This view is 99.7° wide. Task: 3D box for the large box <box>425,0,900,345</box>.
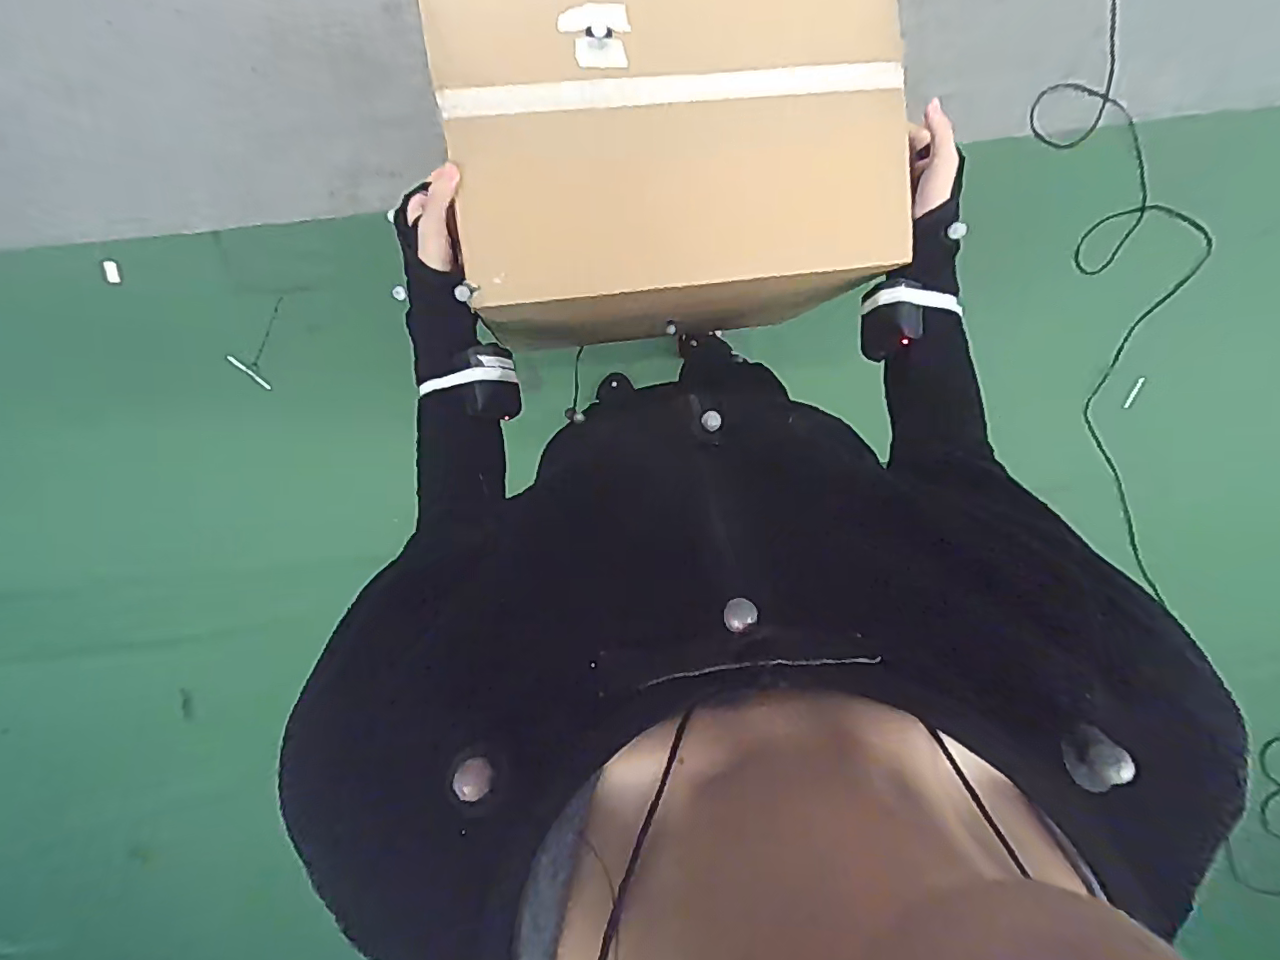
[{"bbox_3d":[0.016,-0.349,0.619,0.408,0.320,0.320,-9,97,-6],"label":"large box"}]
